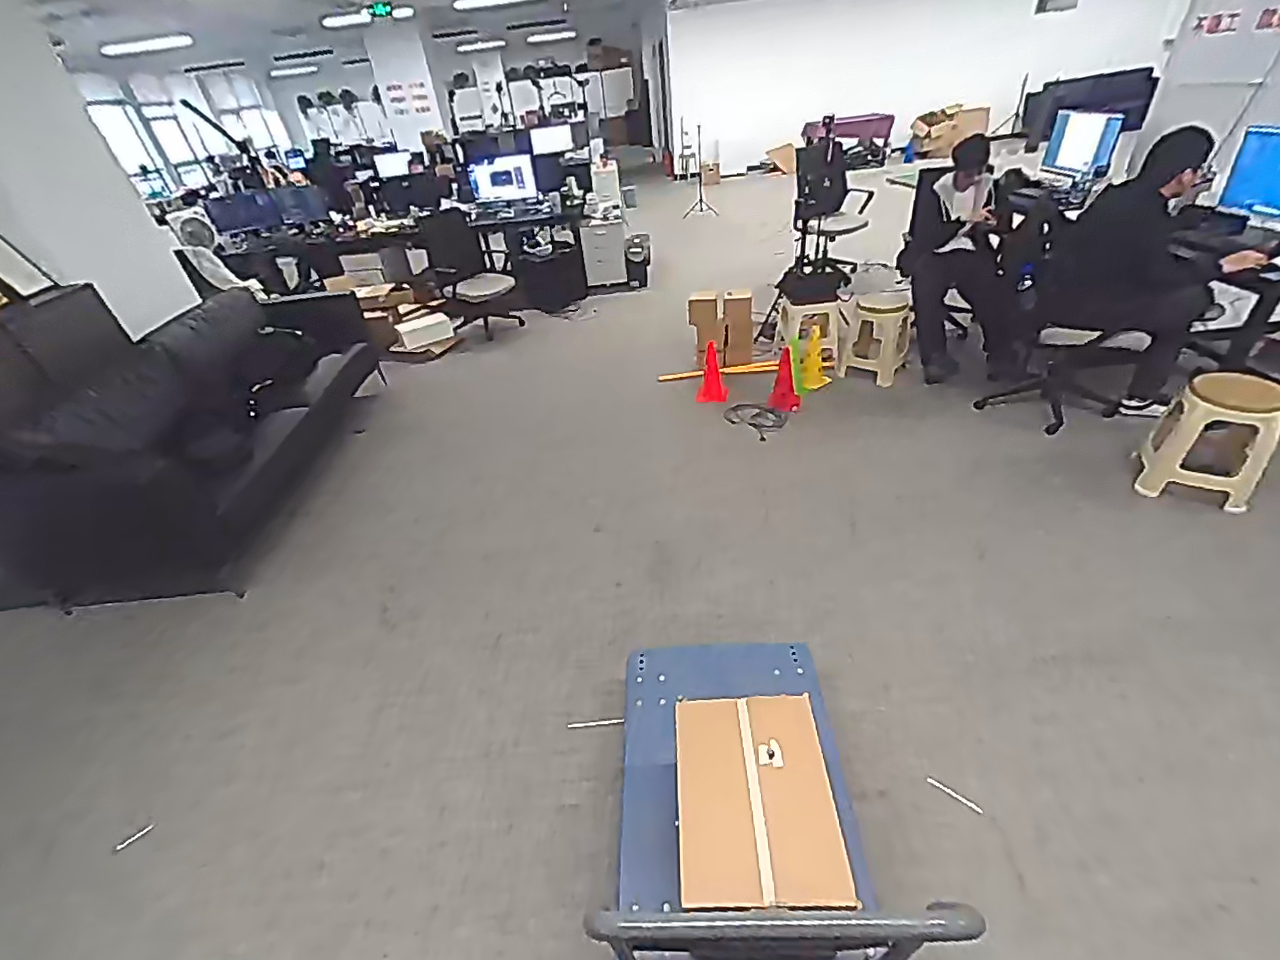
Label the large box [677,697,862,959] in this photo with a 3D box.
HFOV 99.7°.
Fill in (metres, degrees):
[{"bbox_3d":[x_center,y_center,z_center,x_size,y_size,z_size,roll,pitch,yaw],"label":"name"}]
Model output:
[{"bbox_3d":[0.254,0.752,1.188,0.320,0.320,0.408,-4,36,4],"label":"large box"}]
